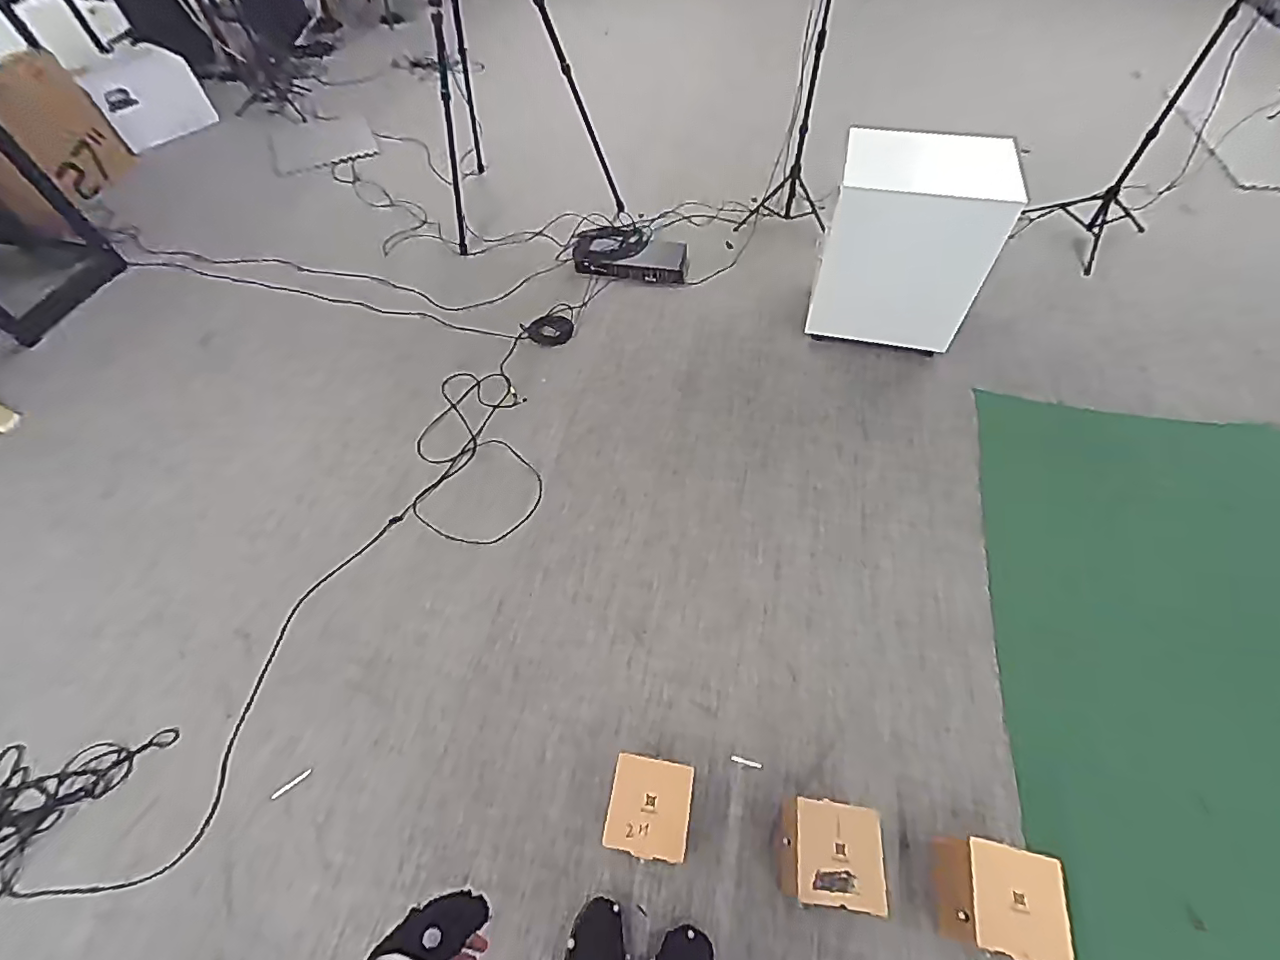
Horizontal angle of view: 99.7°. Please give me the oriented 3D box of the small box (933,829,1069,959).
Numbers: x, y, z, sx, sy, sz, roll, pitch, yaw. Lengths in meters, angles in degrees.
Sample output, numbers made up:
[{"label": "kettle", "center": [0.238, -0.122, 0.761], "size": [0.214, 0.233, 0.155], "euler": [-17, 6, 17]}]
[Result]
[{"label": "small box", "center": [0.704, 0.823, 1.080], "size": [0.168, 0.176, 0.179], "euler": [10, 57, 10]}]

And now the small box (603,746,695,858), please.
[{"label": "small box", "center": [0.023, 0.704, 1.181], "size": [0.168, 0.176, 0.179], "euler": [8, 57, 9]}]

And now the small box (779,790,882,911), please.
[{"label": "small box", "center": [0.388, 0.767, 1.127], "size": [0.168, 0.176, 0.179], "euler": [6, 55, 6]}]
